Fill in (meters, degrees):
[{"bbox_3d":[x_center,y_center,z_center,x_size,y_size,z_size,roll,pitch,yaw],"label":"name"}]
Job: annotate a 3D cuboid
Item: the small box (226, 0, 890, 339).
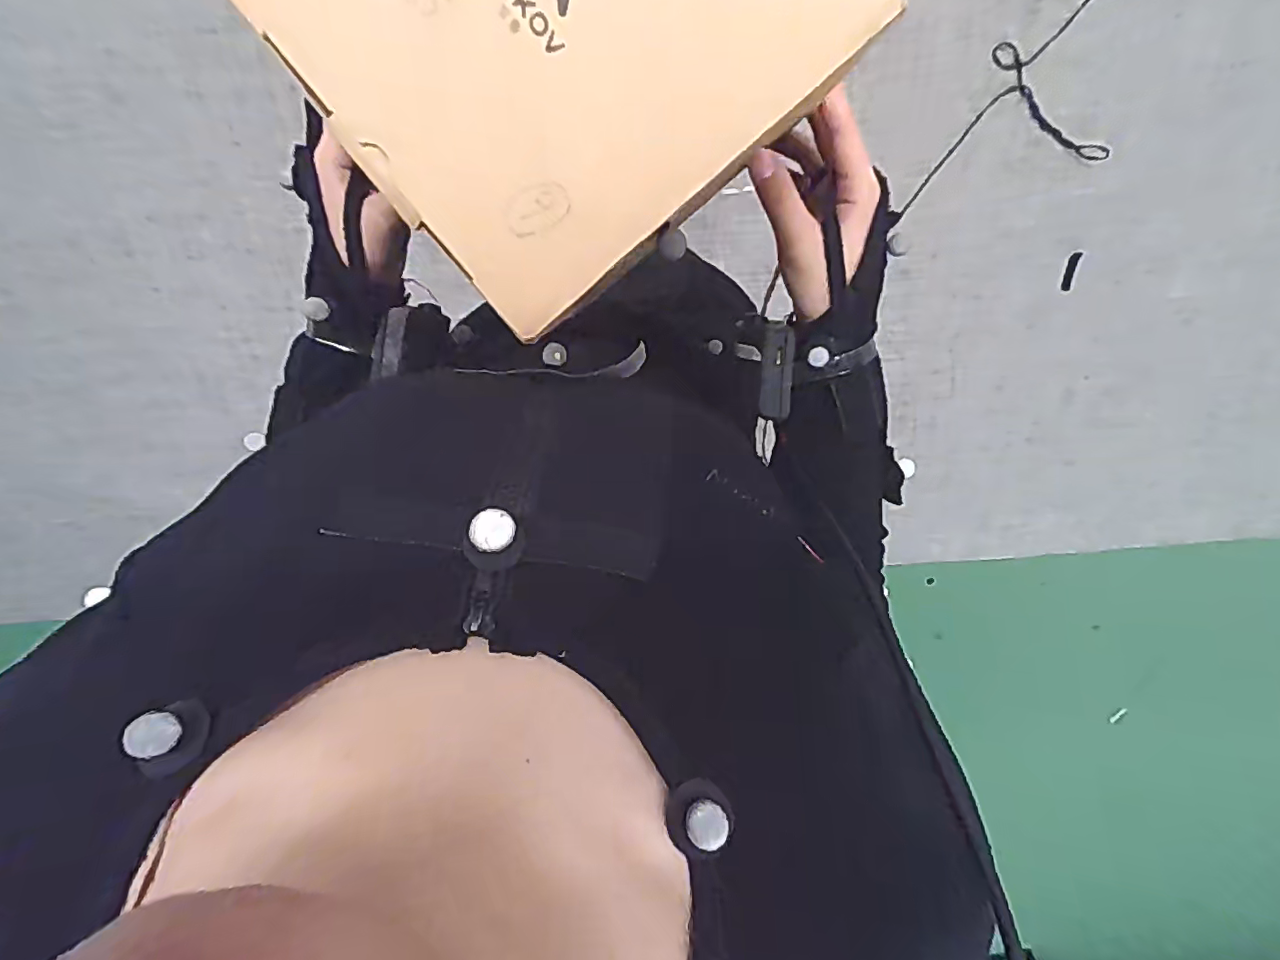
[{"bbox_3d":[-0.027,-0.193,0.253,0.179,0.176,0.168,-36,106,16],"label":"small box"}]
